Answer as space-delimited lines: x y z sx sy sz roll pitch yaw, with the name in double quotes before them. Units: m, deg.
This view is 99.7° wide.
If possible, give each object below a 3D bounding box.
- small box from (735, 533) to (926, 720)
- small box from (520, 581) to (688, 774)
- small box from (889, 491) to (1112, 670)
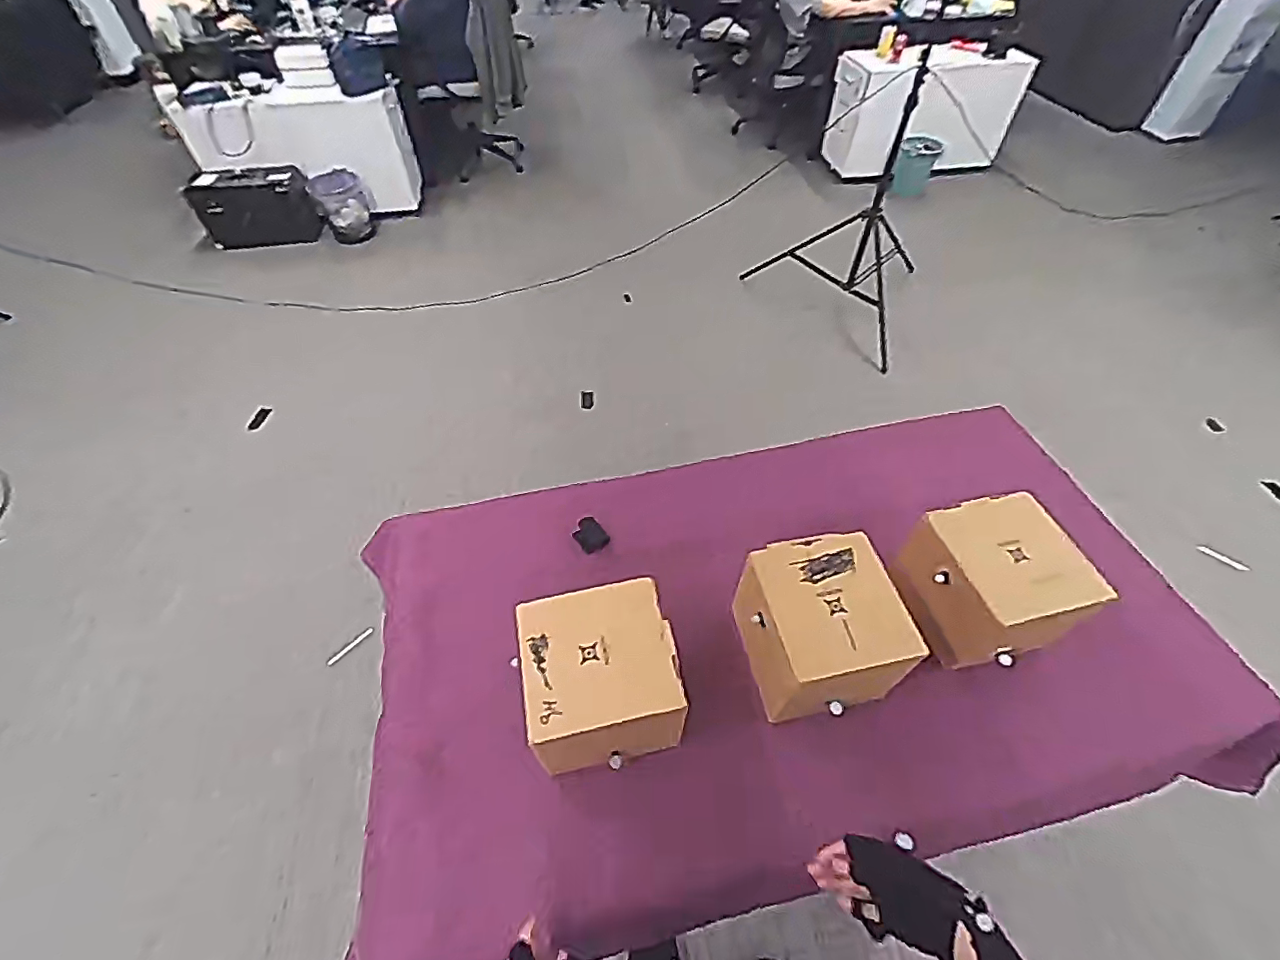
"small box" 0.238 0.200 0.734 0.168 0.176 0.179 -10 52 -7
"small box" -0.050 0.254 0.692 0.179 0.176 0.168 -10 51 -9
"small box" 0.495 0.146 0.780 0.168 0.176 0.179 -12 52 -8
